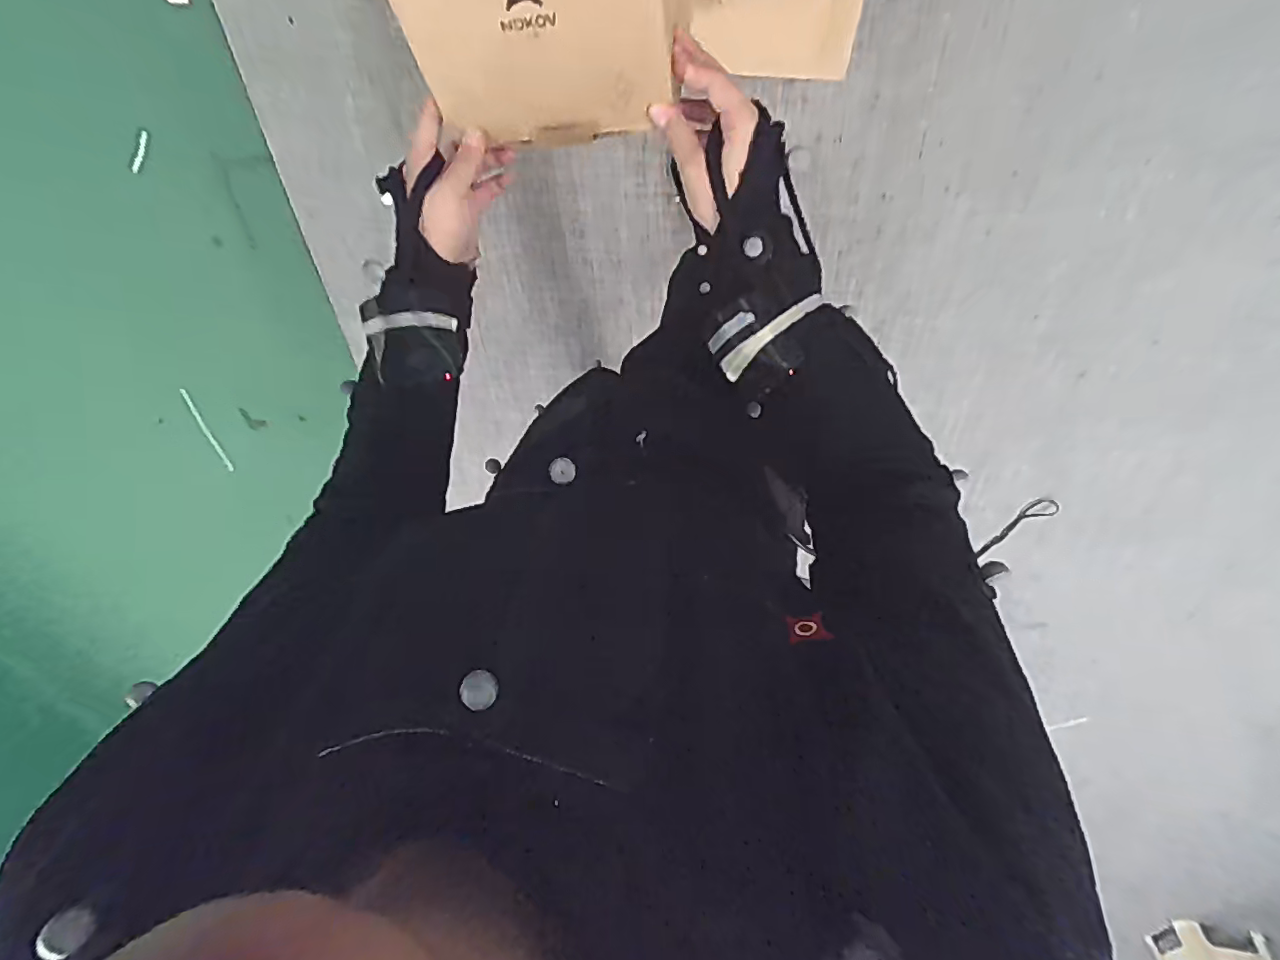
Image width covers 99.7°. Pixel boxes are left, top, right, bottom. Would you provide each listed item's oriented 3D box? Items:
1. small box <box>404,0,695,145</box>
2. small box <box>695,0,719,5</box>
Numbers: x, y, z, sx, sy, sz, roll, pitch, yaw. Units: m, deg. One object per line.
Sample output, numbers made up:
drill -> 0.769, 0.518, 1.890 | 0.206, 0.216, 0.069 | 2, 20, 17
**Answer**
small box -> -0.054, -0.361, 0.352 | 0.168, 0.176, 0.179 | 1, 152, 11
small box -> 0.018, -0.616, 0.558 | 0.179, 0.176, 0.168 | 12, 128, 3
